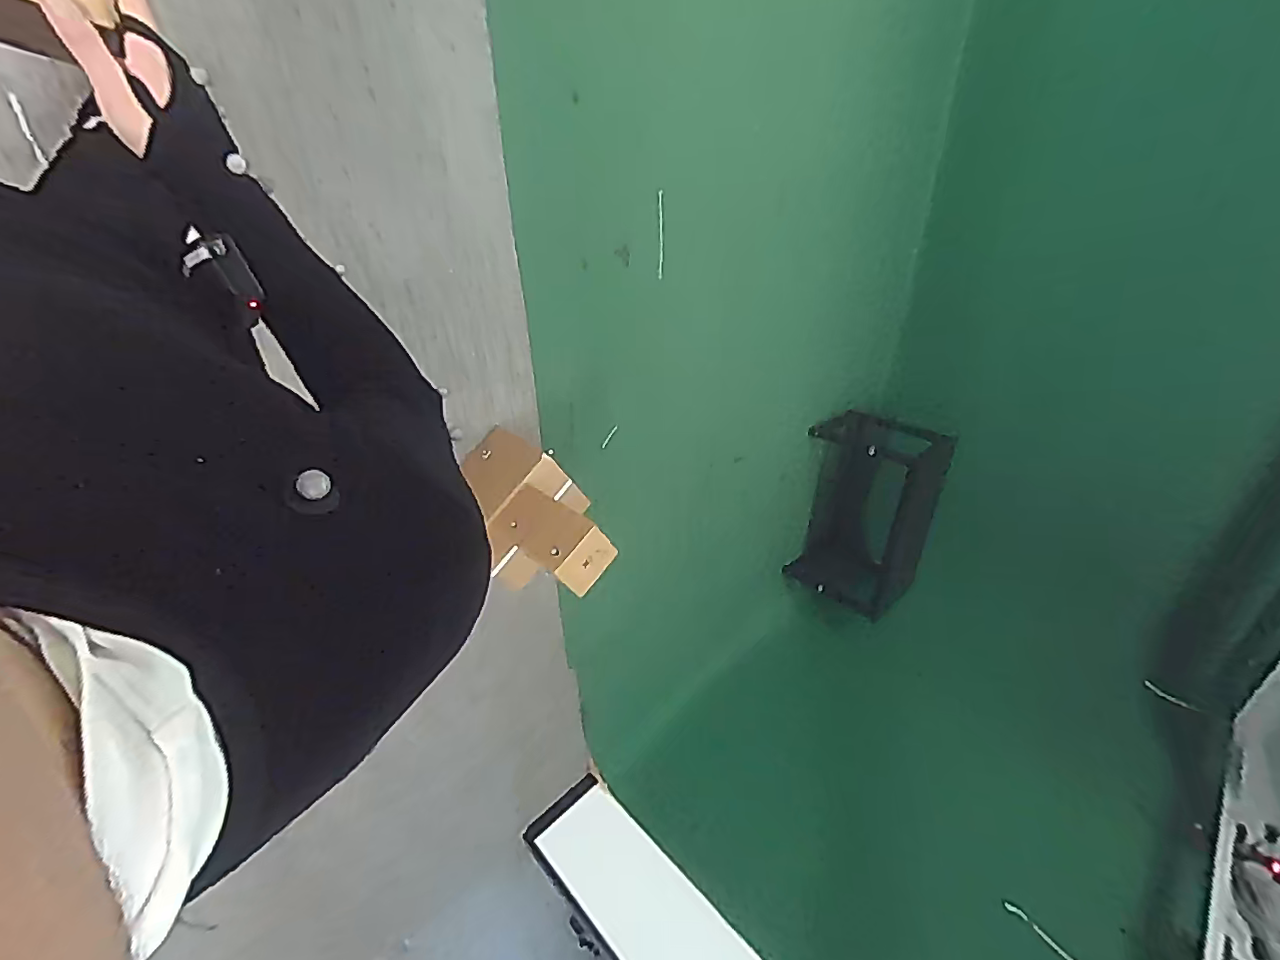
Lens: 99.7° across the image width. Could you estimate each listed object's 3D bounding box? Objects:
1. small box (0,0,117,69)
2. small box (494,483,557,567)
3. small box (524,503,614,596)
[{"bbox_3d":[-0.496,-0.438,0.383,0.168,0.176,0.179,-6,113,-44],"label":"small box"},{"bbox_3d":[-0.327,0.141,1.680,0.179,0.176,0.168,-51,140,-14],"label":"small box"},{"bbox_3d":[-0.214,0.199,1.576,0.179,0.176,0.168,-50,140,-15],"label":"small box"}]
